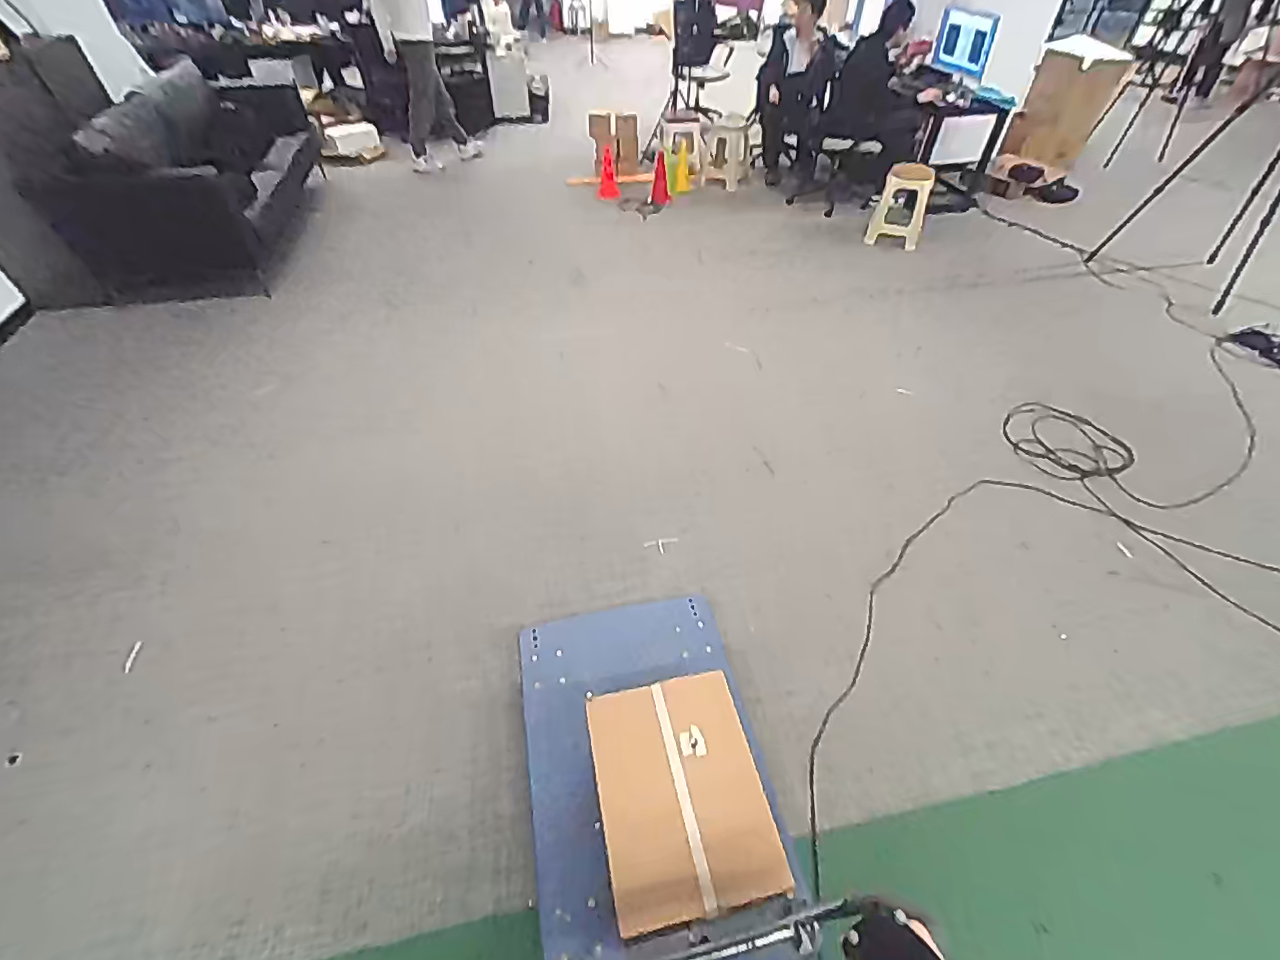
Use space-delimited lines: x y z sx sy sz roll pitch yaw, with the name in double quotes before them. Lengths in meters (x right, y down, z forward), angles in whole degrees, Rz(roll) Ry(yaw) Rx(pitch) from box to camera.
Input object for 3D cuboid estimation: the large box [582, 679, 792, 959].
"large box" 0.071 0.709 1.149 0.320 0.320 0.408 -9 45 -10
